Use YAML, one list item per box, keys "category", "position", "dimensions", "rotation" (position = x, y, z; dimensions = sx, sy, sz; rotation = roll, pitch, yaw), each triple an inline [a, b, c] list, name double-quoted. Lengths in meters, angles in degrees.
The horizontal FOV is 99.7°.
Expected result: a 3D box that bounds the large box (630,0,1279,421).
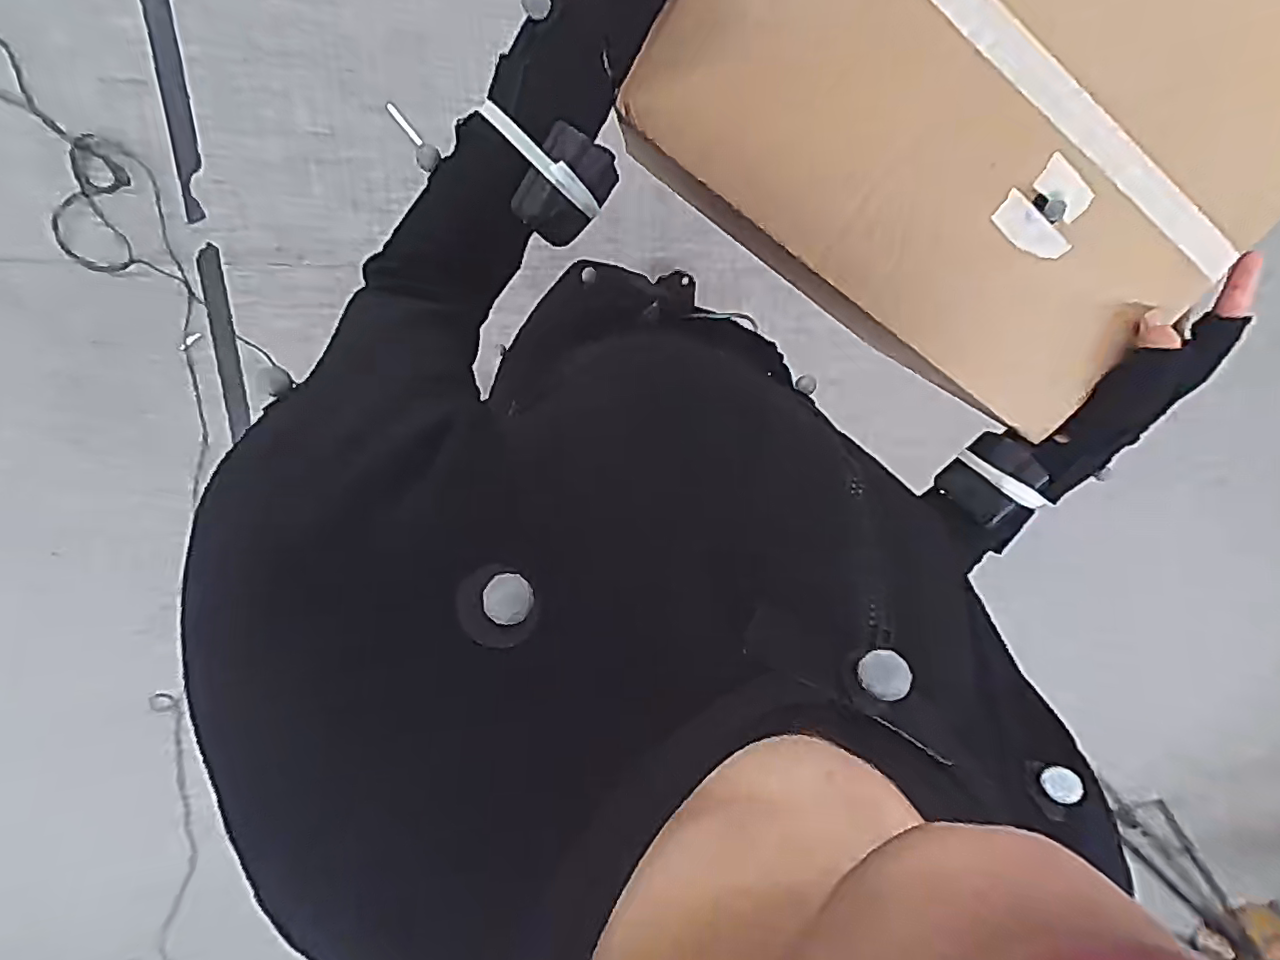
- category: "large box"
  position: [0.236, -0.321, 0.471]
  dimensions: [0.408, 0.320, 0.320]
  rotation: [31, 114, -15]
